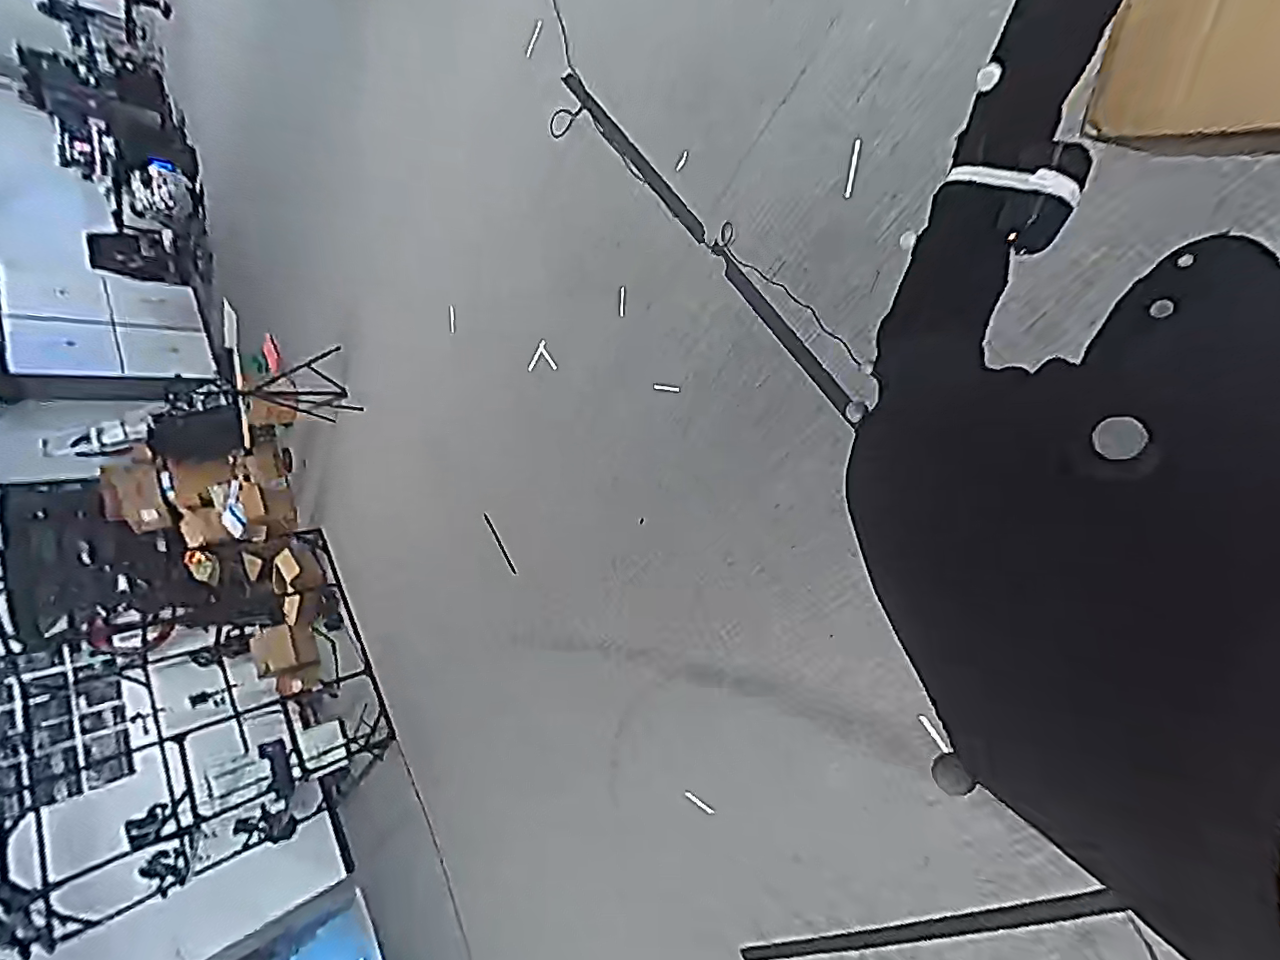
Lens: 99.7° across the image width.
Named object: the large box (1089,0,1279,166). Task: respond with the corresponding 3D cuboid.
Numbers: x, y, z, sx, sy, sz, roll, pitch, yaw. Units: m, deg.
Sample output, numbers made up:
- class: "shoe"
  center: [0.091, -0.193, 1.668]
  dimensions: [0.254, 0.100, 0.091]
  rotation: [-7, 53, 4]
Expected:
- class: "large box"
  center: [0.562, -0.363, 0.288]
  dimensions: [0.408, 0.320, 0.320]
  rotation: [25, 127, 40]
